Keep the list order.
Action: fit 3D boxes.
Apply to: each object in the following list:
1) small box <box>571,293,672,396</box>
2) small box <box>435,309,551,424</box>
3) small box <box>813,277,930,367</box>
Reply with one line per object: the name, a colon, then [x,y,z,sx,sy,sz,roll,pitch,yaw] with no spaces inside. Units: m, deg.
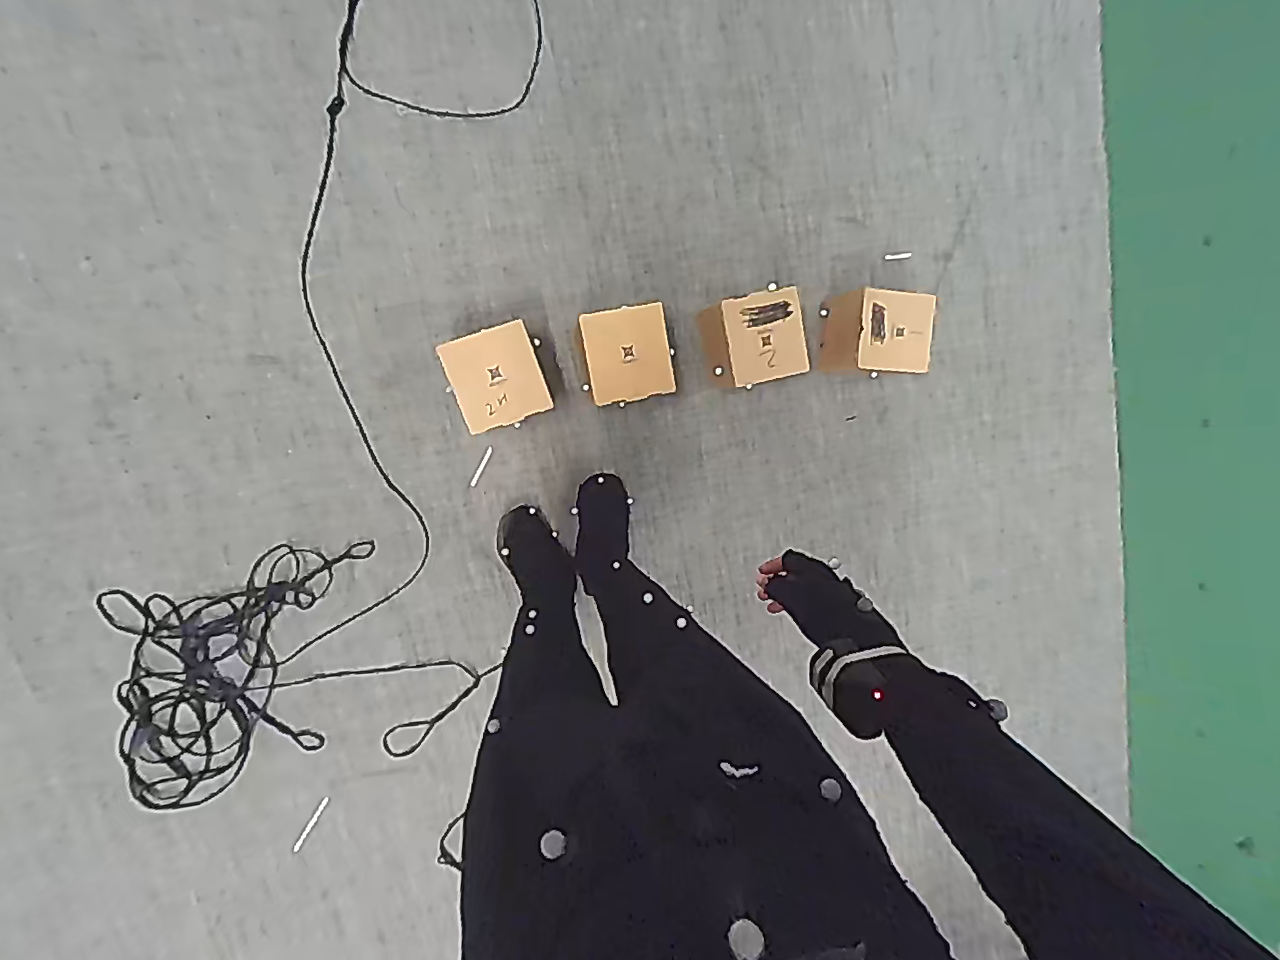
small box: [-0.044,-0.274,1.121,0.168,0.176,0.179,-13,101,-9]
small box: [-0.287,-0.221,1.078,0.168,0.176,0.179,-21,102,-7]
small box: [0.513,-0.348,1.222,0.179,0.176,0.168,1,99,-13]
